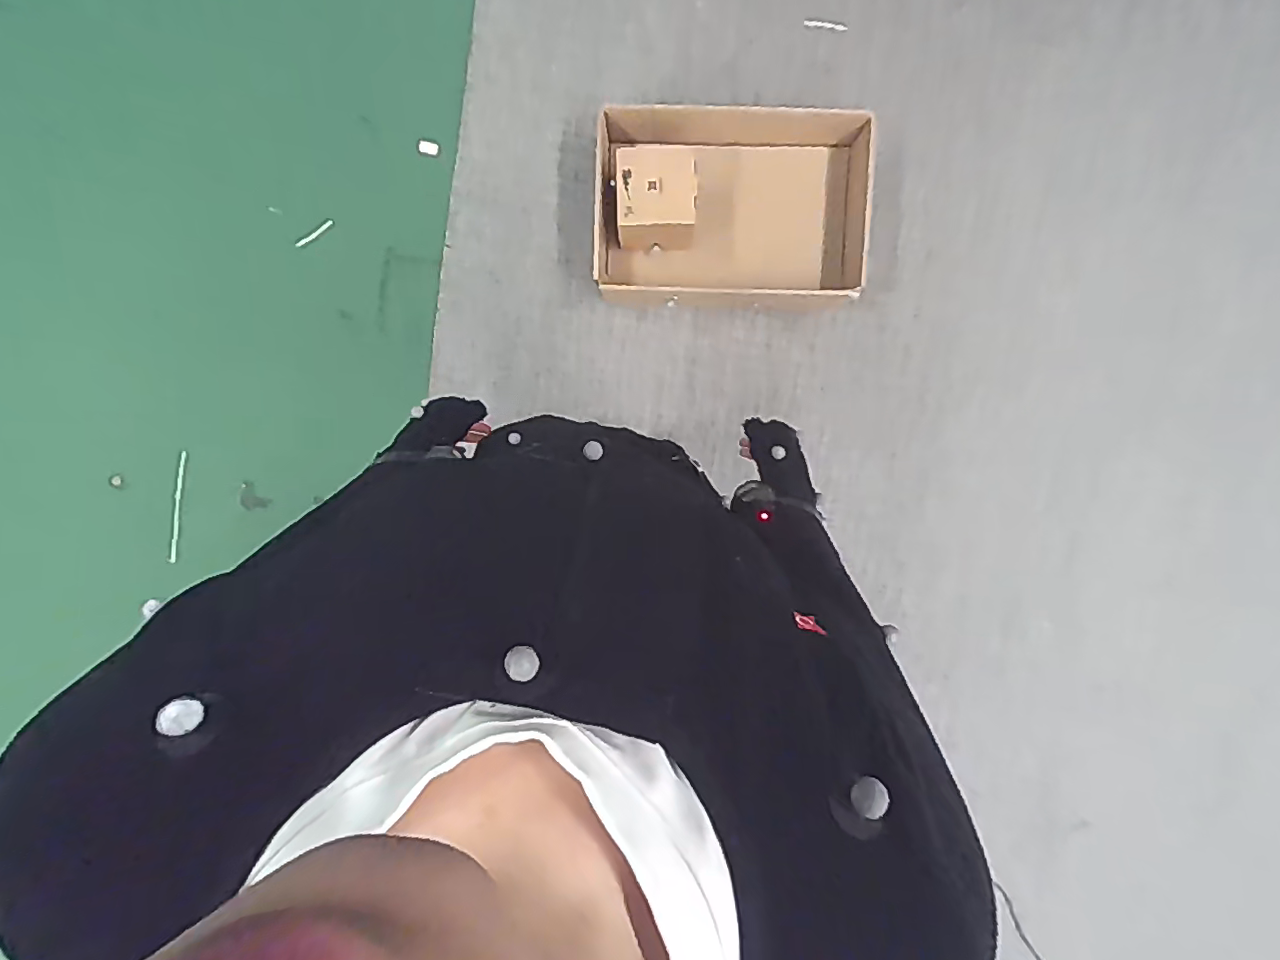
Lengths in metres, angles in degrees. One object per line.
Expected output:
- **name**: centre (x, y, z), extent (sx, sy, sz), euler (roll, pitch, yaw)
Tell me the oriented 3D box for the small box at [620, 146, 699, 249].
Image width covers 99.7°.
- **small box**: centre (0.042, -0.653, 1.266), extent (0.179, 0.176, 0.168), euler (-1, 95, 0)
